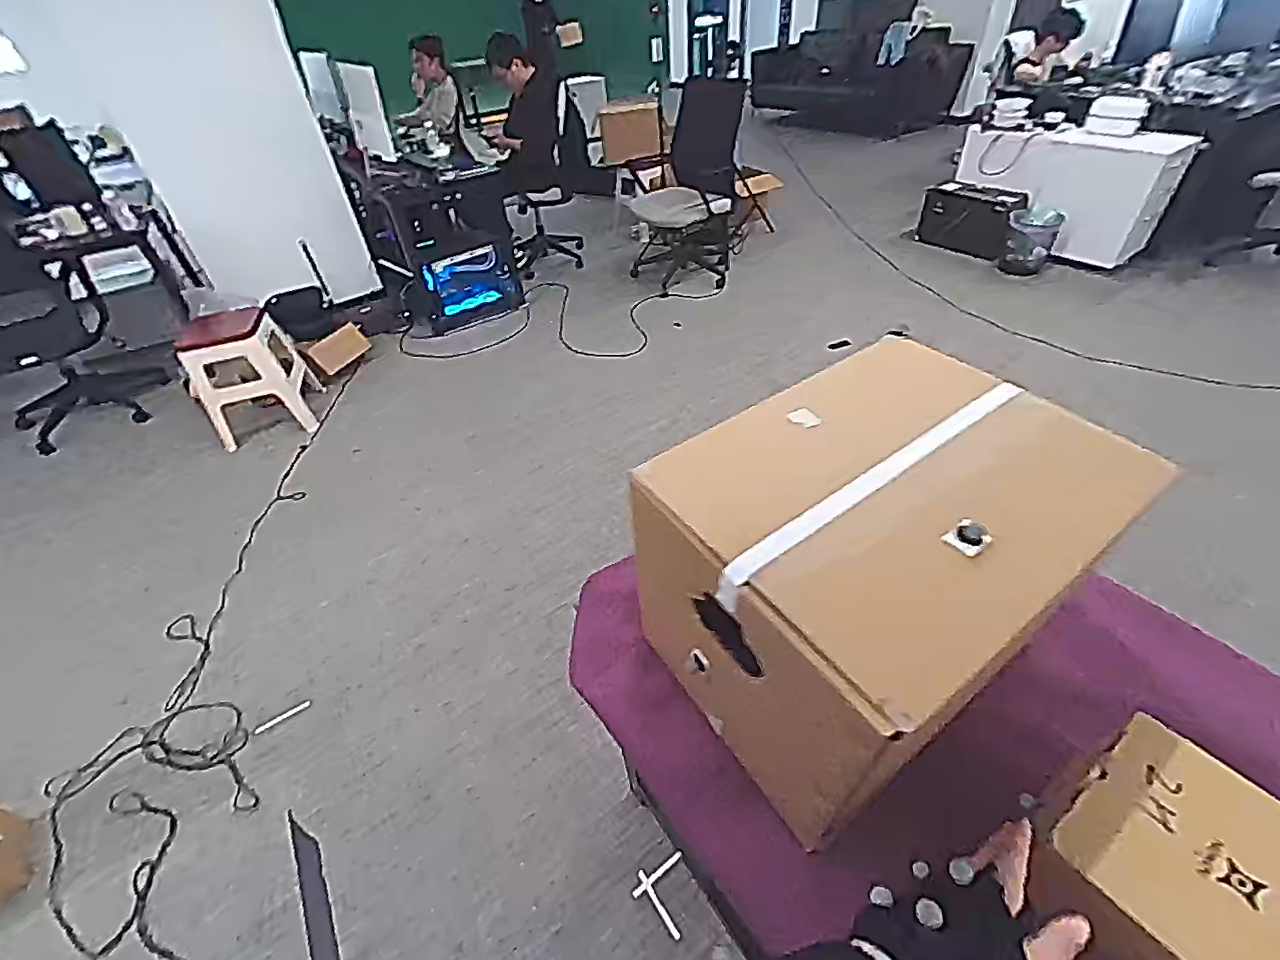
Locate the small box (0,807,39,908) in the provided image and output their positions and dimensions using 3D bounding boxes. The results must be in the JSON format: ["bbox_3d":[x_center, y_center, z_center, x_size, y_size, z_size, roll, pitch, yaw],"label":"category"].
[{"bbox_3d":[-1.487,0.854,1.186,0.168,0.176,0.179,-34,50,-25],"label":"small box"}]
